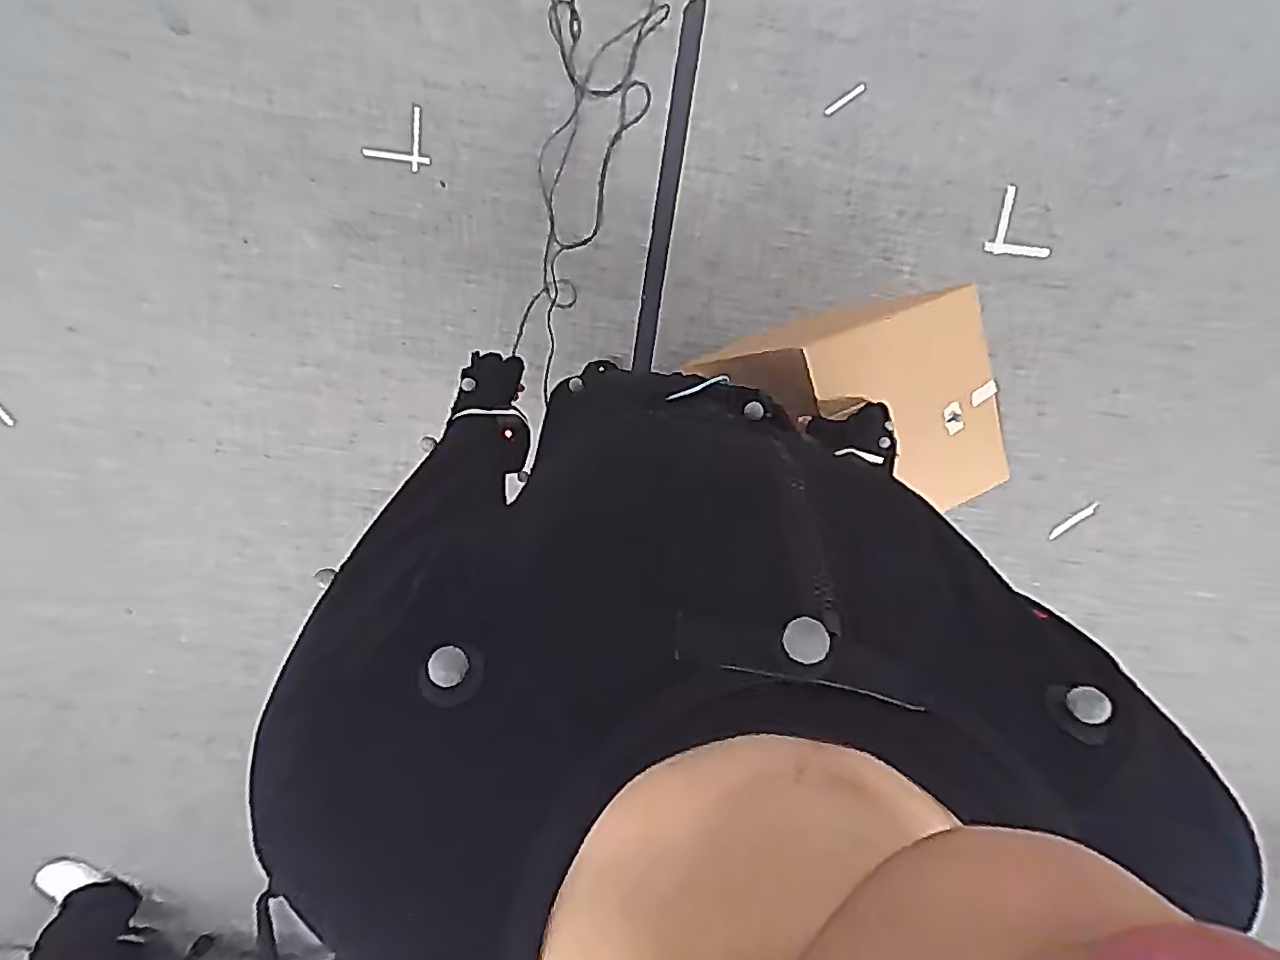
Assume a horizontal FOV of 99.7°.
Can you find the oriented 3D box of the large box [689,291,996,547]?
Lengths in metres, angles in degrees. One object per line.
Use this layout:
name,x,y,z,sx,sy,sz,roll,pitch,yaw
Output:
large box,0.336,-0.115,0.983,0.320,0.408,0.320,-20,103,-13
